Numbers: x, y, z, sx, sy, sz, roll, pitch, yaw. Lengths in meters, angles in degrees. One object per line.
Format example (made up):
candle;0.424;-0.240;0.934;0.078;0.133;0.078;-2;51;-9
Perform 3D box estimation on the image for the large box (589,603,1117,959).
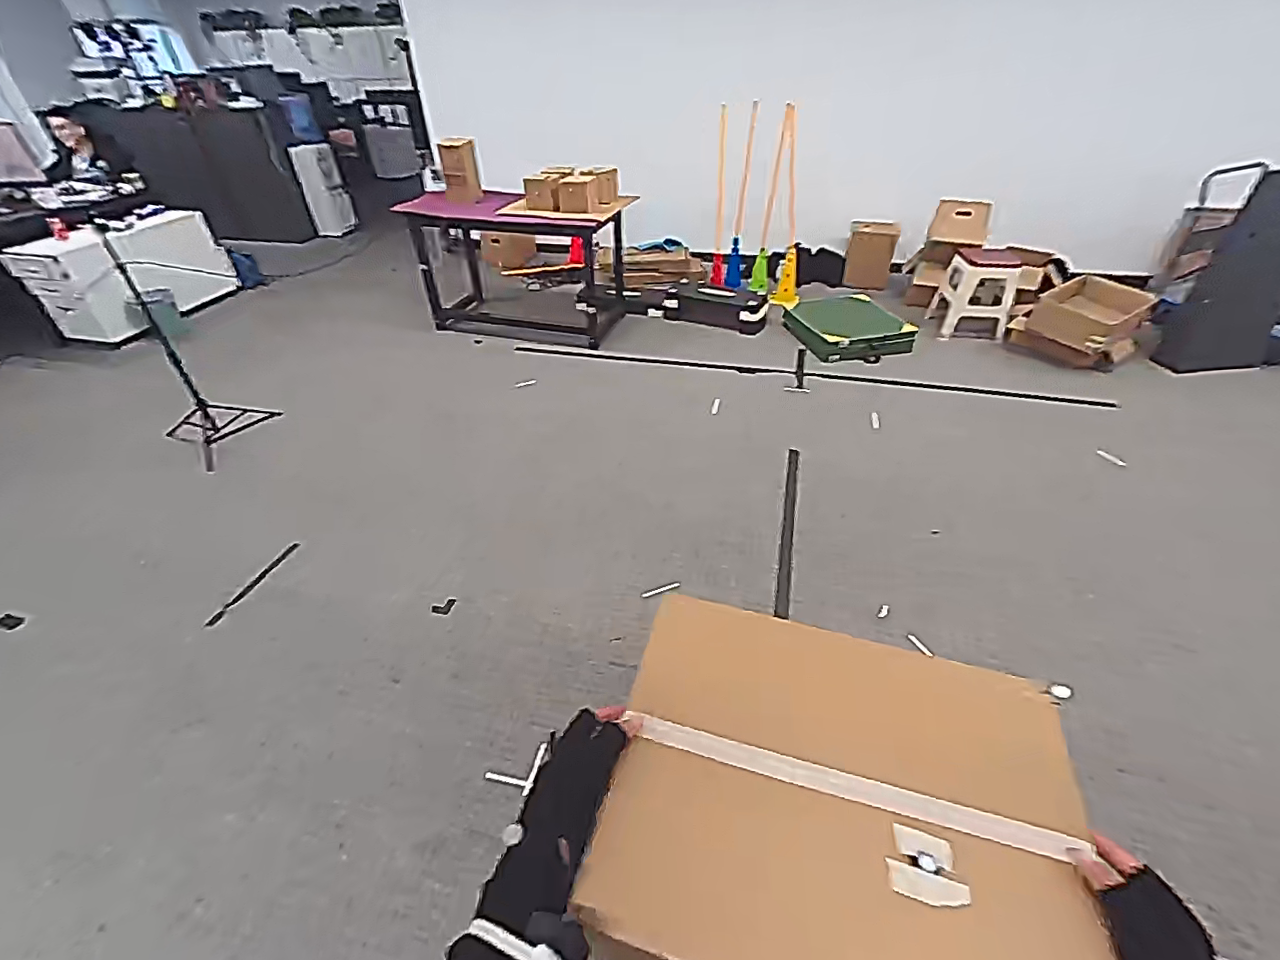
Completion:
large box;0.185;0.388;0.594;0.408;0.320;0.320;12;46;11
